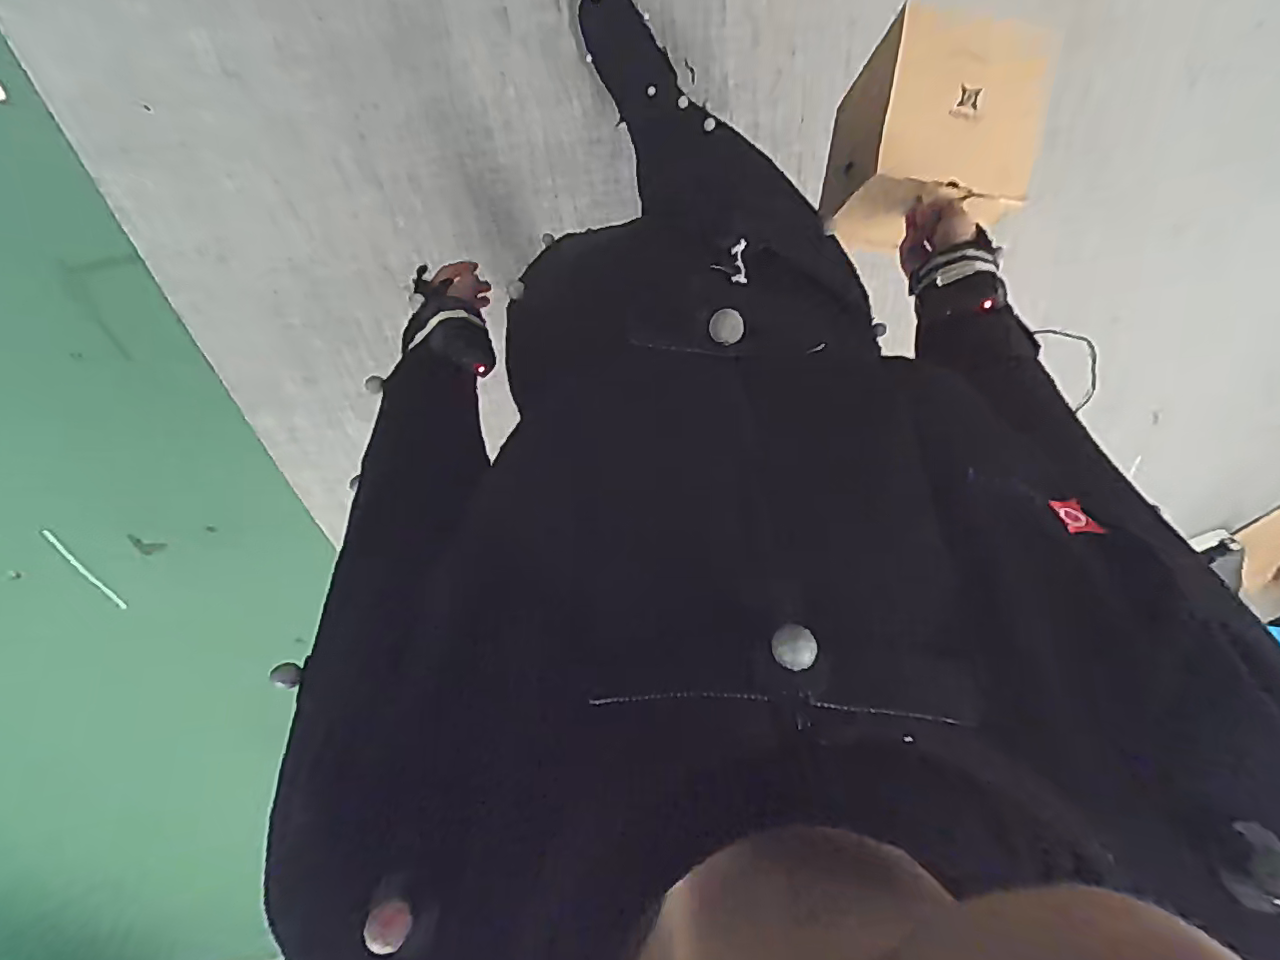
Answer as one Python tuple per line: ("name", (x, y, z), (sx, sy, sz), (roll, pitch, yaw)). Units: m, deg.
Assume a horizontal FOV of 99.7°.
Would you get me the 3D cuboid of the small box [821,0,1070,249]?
("small box", (0.319, -0.383, 0.601), (0.168, 0.176, 0.179), (9, 91, -4))
